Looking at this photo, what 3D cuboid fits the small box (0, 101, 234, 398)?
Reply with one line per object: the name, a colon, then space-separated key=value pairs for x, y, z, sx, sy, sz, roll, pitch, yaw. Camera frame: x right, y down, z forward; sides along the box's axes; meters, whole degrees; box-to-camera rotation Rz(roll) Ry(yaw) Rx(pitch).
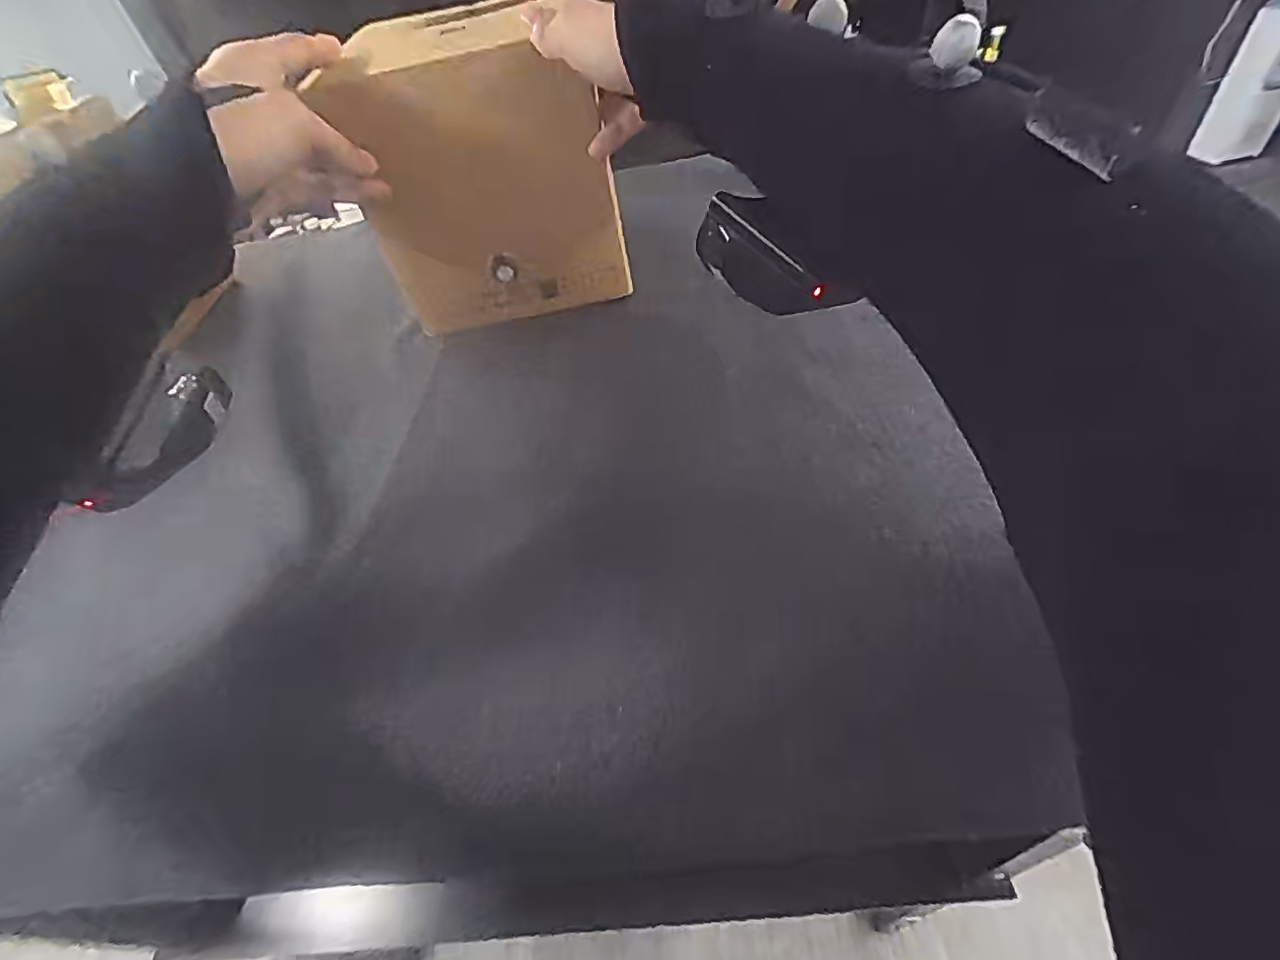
small box: x=-0.503 y=-0.190 z=0.458 sx=0.179 sy=0.176 sz=0.168 roll=-10 pitch=46 yaw=1
